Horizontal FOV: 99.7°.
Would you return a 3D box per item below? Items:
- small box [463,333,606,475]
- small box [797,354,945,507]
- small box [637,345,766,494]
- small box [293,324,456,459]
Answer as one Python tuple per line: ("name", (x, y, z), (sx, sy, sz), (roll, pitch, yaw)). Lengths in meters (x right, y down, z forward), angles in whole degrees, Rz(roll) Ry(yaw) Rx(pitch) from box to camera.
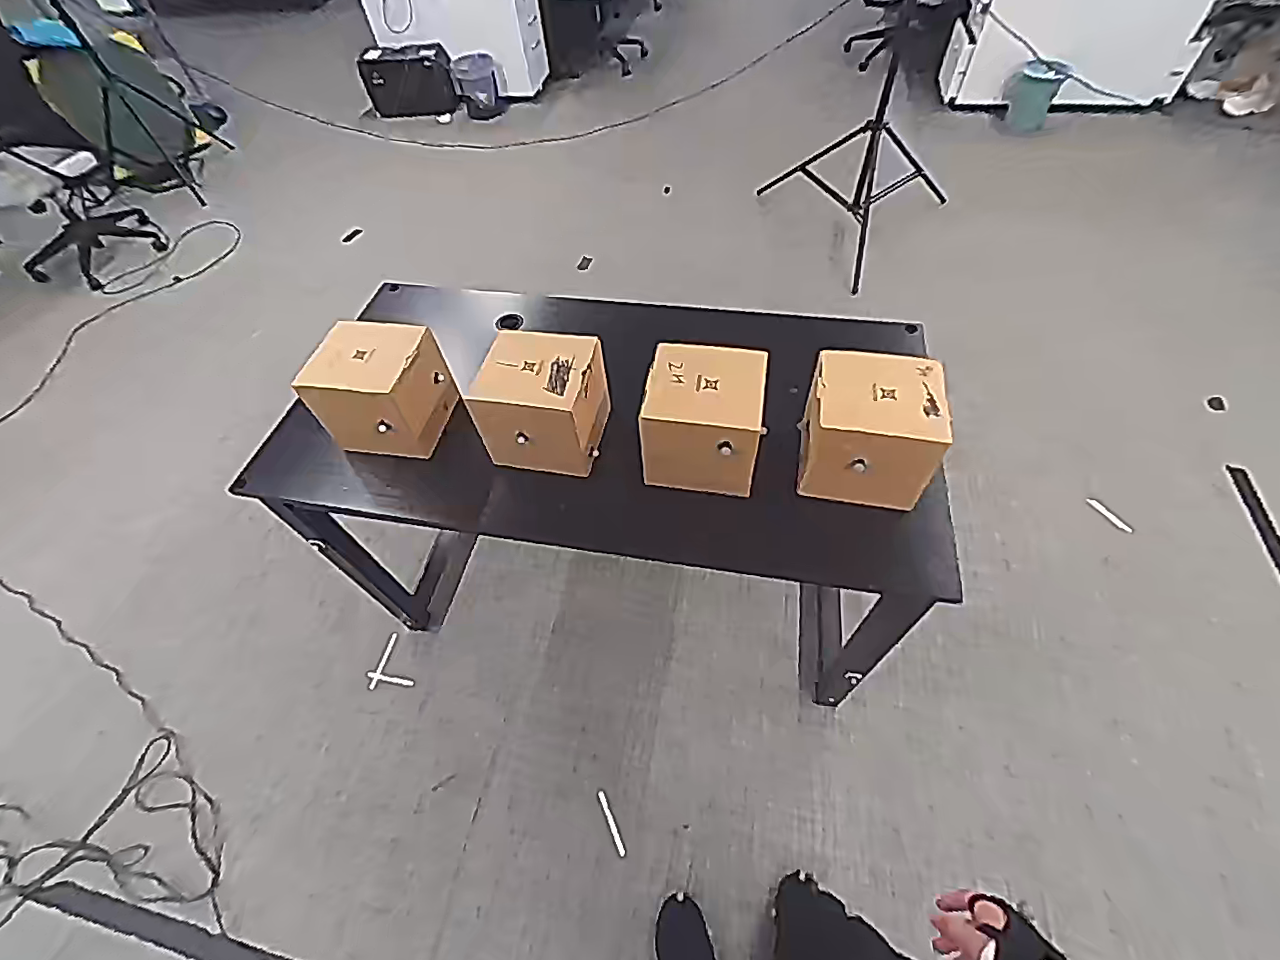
("small box", (-0.164, -0.125, 0.920), (0.179, 0.176, 0.168), (7, 55, 11))
("small box", (0.346, -0.074, 0.843), (0.179, 0.176, 0.168), (7, 55, 11))
("small box", (0.100, -0.093, 0.875), (0.179, 0.176, 0.168), (7, 55, 9))
("small box", (-0.455, -0.153, 0.963), (0.179, 0.176, 0.168), (5, 54, 8))
